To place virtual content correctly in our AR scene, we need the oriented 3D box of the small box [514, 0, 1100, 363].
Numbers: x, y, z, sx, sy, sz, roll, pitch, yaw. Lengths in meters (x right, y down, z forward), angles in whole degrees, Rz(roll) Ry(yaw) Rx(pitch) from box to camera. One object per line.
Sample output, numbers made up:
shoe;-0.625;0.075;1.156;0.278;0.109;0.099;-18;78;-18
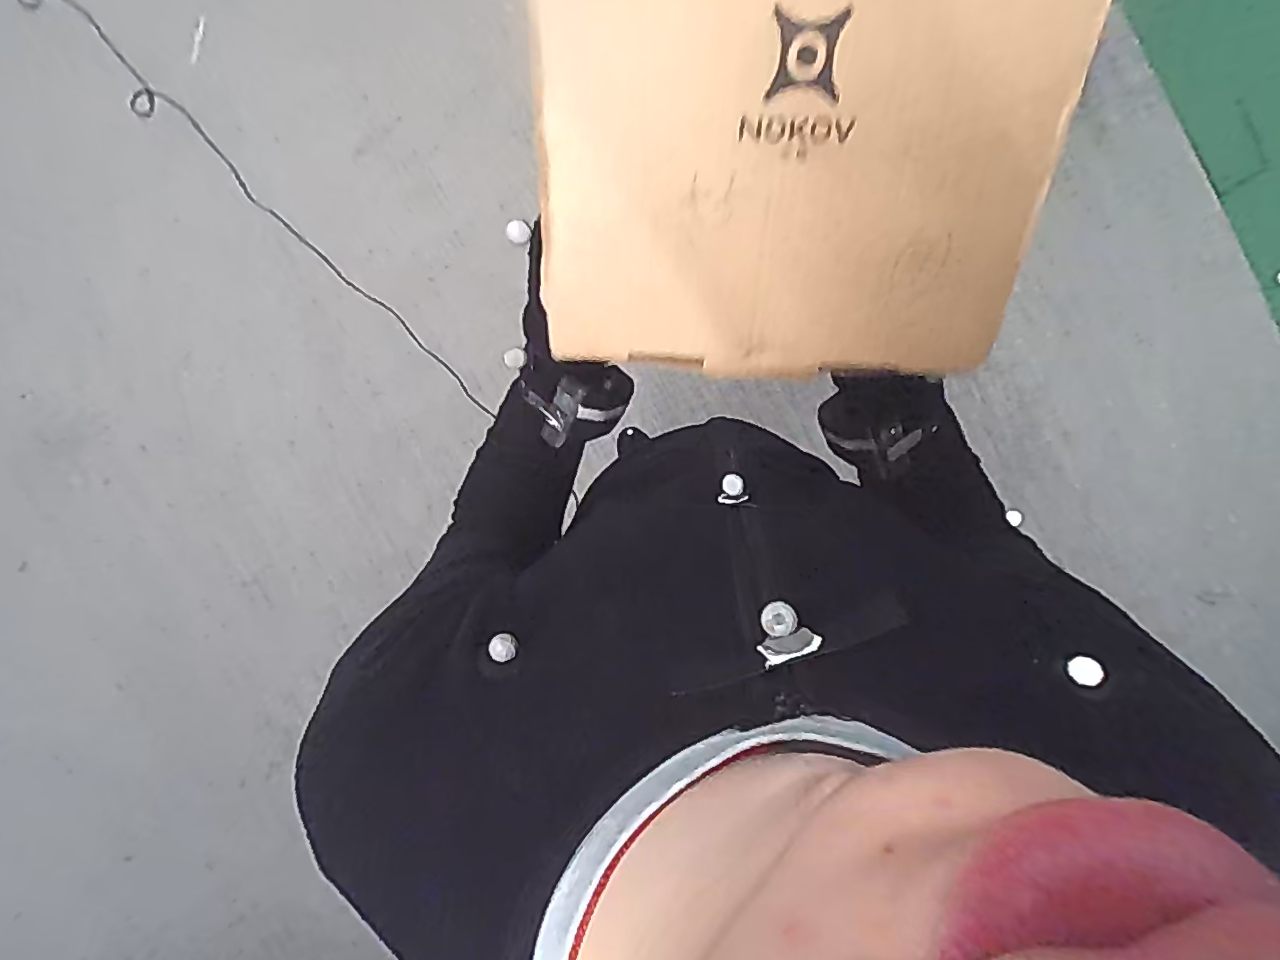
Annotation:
small box;0.047;-0.162;0.230;0.168;0.176;0.179;1;120;0
